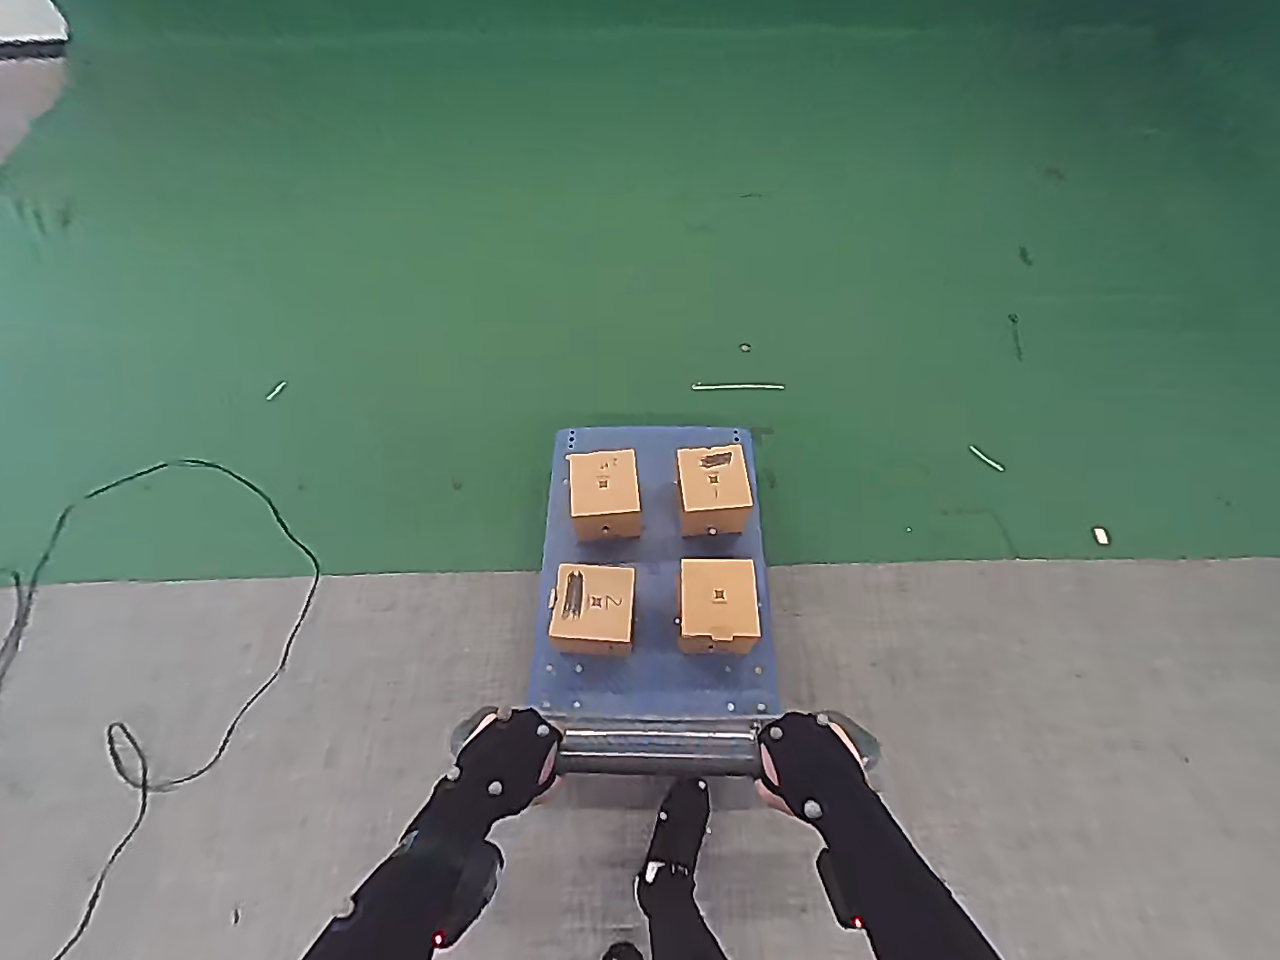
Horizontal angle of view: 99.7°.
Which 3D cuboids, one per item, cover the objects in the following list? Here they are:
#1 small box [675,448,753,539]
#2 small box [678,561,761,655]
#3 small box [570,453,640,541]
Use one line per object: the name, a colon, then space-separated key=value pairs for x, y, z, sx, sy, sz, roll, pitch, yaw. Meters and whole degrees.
small box: x=0.183 y=0.038 z=1.393 sx=0.168 sy=0.176 sz=0.179 roll=-5 pitch=62 yaw=-1
small box: x=0.176 y=0.298 z=1.252 sx=0.168 sy=0.176 sz=0.179 roll=0 pitch=62 yaw=1
small box: x=-0.087 y=0.051 z=1.390 sx=0.168 sy=0.176 sz=0.179 roll=-4 pitch=61 yaw=-2
